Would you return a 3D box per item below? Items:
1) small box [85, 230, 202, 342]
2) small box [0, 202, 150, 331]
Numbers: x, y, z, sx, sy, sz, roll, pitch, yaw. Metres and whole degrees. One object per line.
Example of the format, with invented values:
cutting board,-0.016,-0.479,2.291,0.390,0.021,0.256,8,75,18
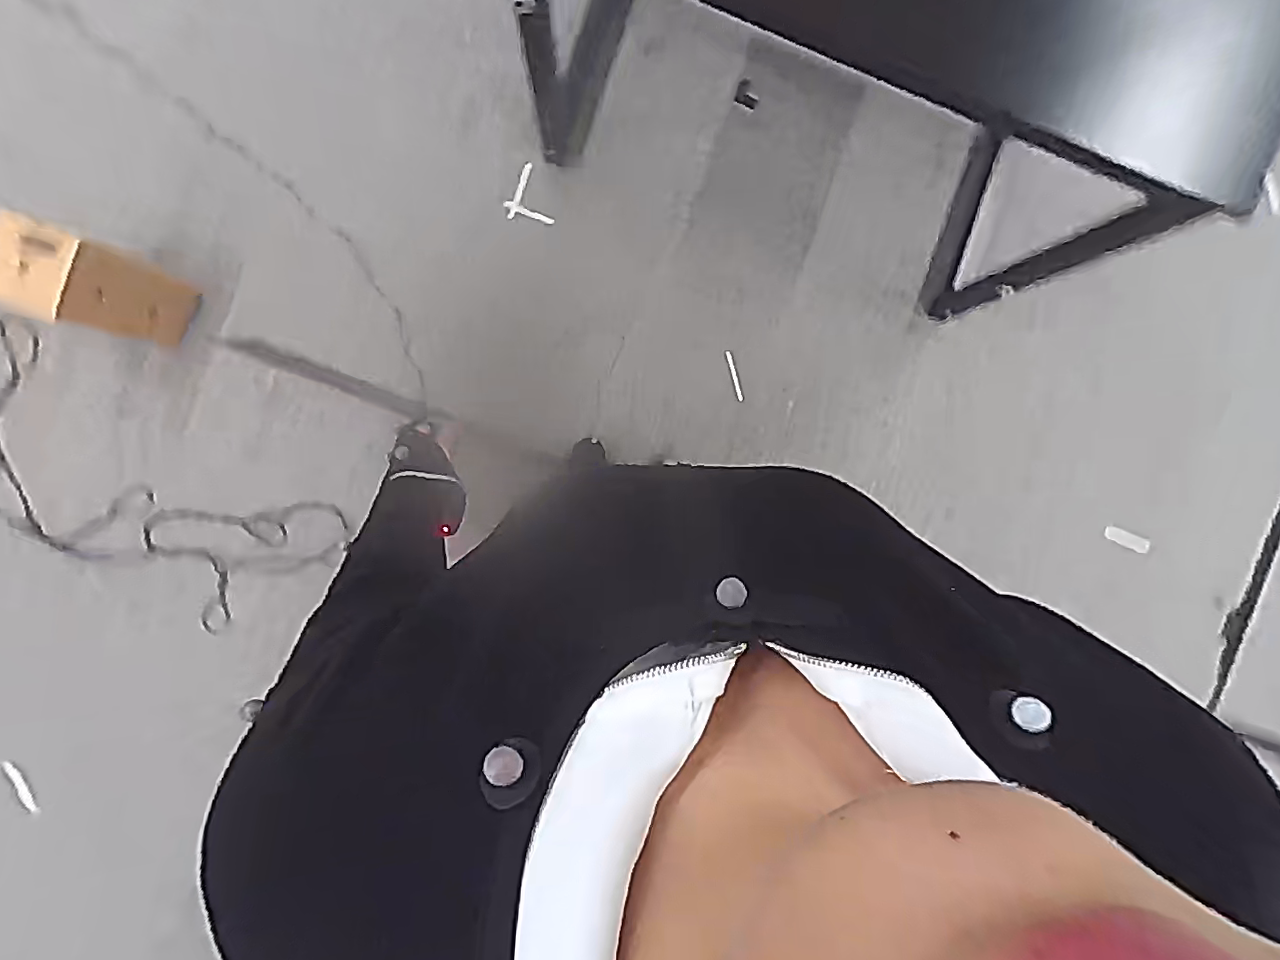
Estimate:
small box,-1.222,-0.457,1.307,0.168,0.176,0.179,27,91,-5
small box,-1.202,-0.439,1.144,0.168,0.176,0.179,21,92,-4
